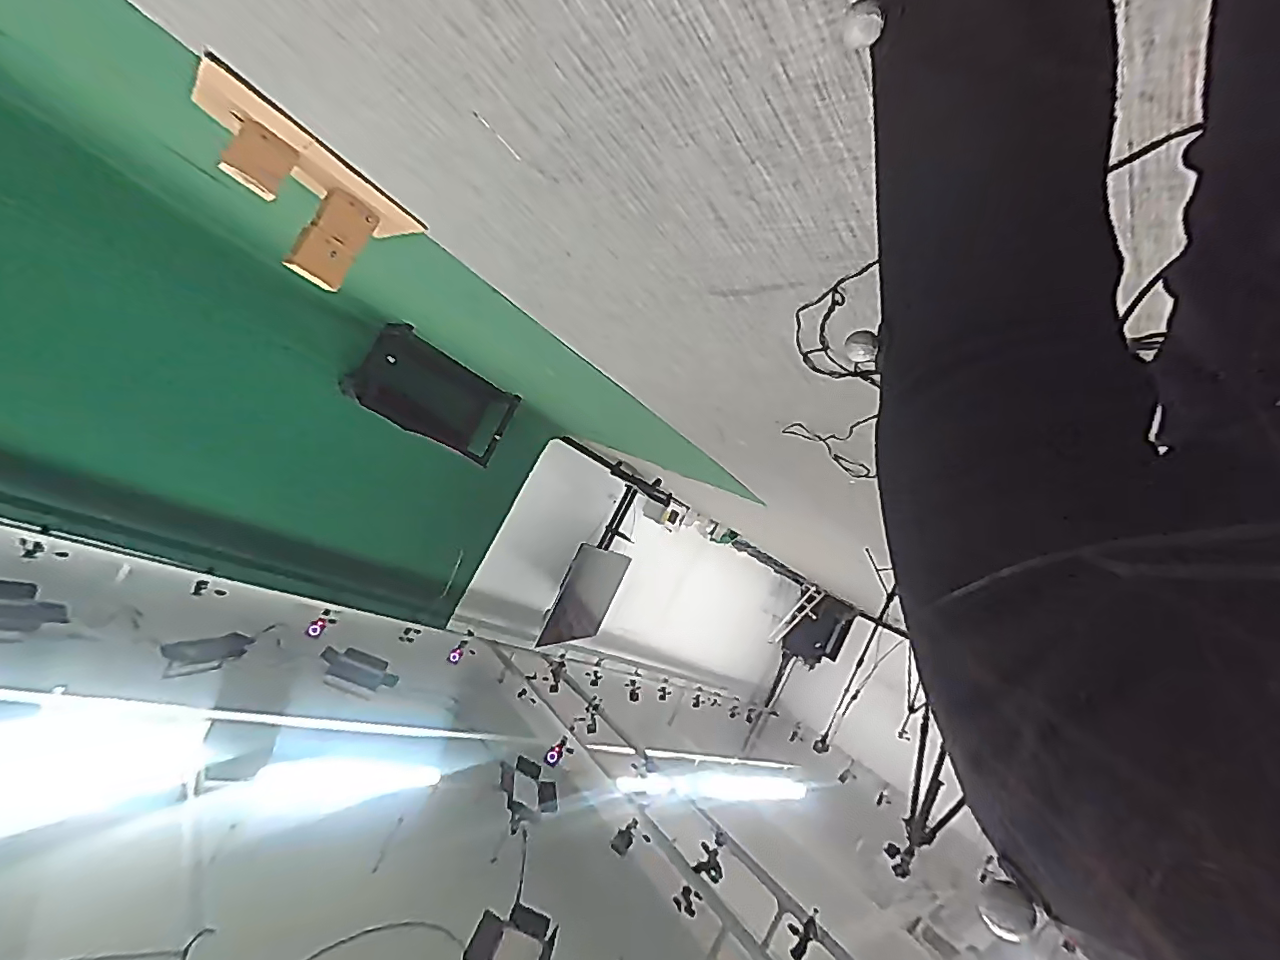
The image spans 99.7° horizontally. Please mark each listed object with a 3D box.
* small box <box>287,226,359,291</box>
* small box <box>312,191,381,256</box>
[{"bbox_3d":[-1.224,-0.857,2.091,0.179,0.176,0.168,23,173,43],"label":"small box"},{"bbox_3d":[-1.136,-0.995,2.099,0.179,0.176,0.168,24,175,45],"label":"small box"}]
